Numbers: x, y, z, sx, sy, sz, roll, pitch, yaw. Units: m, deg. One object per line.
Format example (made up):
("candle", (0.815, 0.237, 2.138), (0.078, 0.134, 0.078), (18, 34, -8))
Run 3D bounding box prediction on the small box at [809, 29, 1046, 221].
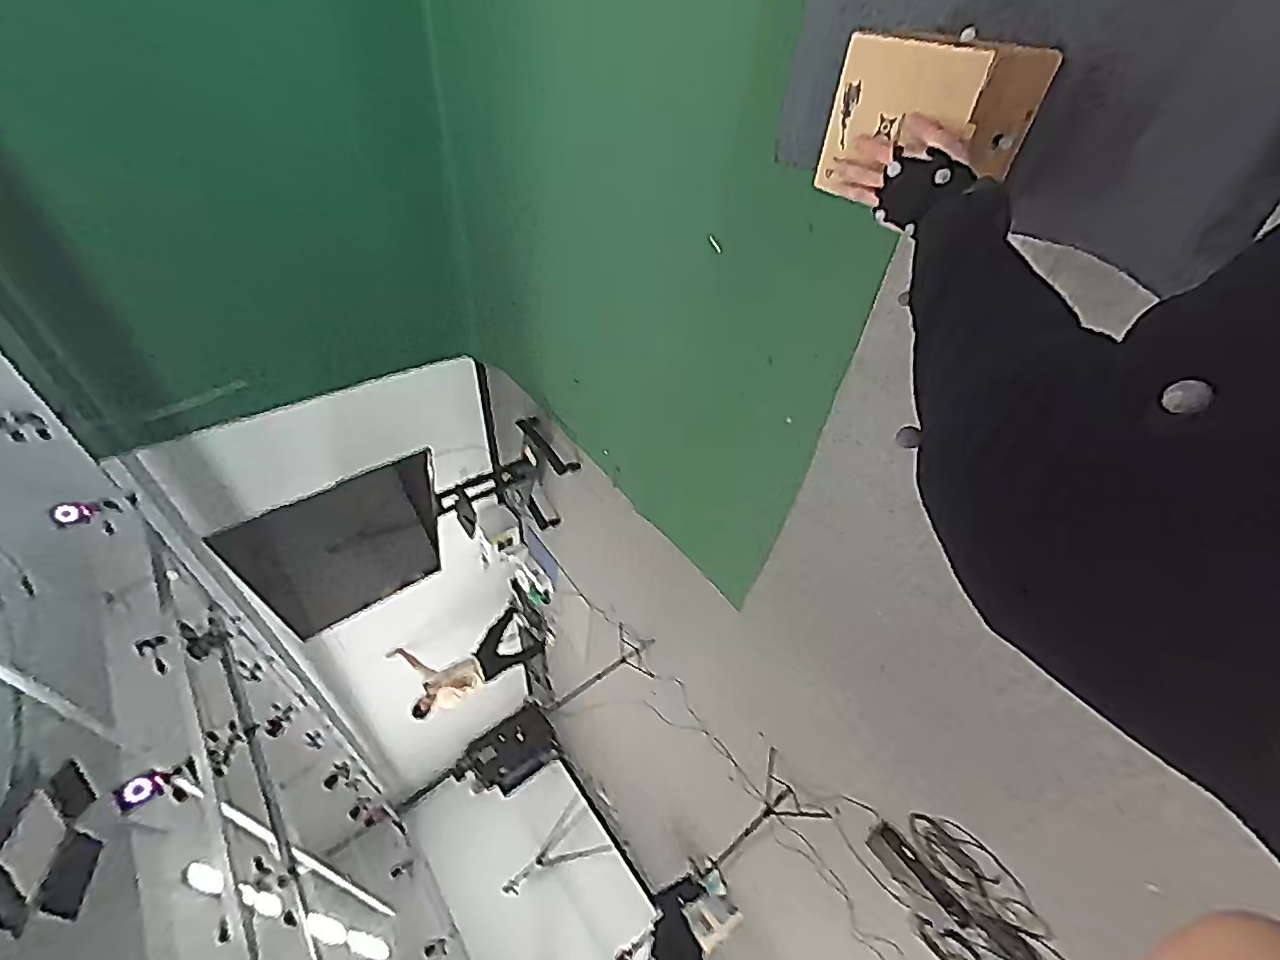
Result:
("small box", (0.350, -0.446, 0.672), (0.179, 0.176, 0.168), (41, 143, 32))
